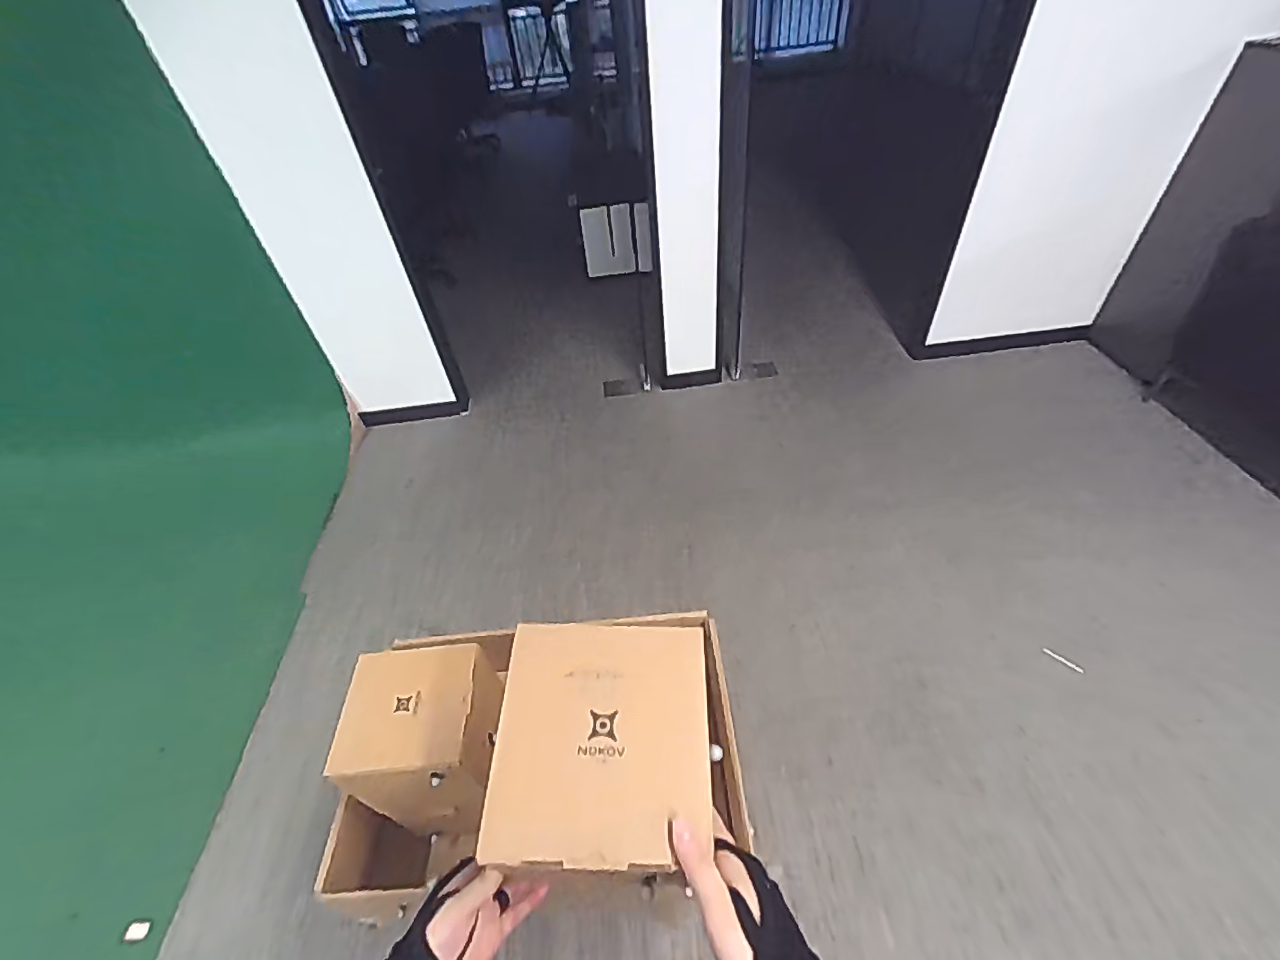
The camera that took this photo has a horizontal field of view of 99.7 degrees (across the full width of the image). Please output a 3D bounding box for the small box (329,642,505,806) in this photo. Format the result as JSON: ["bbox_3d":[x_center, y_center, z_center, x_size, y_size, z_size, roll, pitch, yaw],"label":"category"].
[{"bbox_3d":[-0.305,0.359,0.791,0.179,0.176,0.168,-6,45,0],"label":"small box"}]

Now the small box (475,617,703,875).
[{"bbox_3d":[-0.030,0.242,0.488,0.168,0.176,0.179,1,50,2],"label":"small box"}]
